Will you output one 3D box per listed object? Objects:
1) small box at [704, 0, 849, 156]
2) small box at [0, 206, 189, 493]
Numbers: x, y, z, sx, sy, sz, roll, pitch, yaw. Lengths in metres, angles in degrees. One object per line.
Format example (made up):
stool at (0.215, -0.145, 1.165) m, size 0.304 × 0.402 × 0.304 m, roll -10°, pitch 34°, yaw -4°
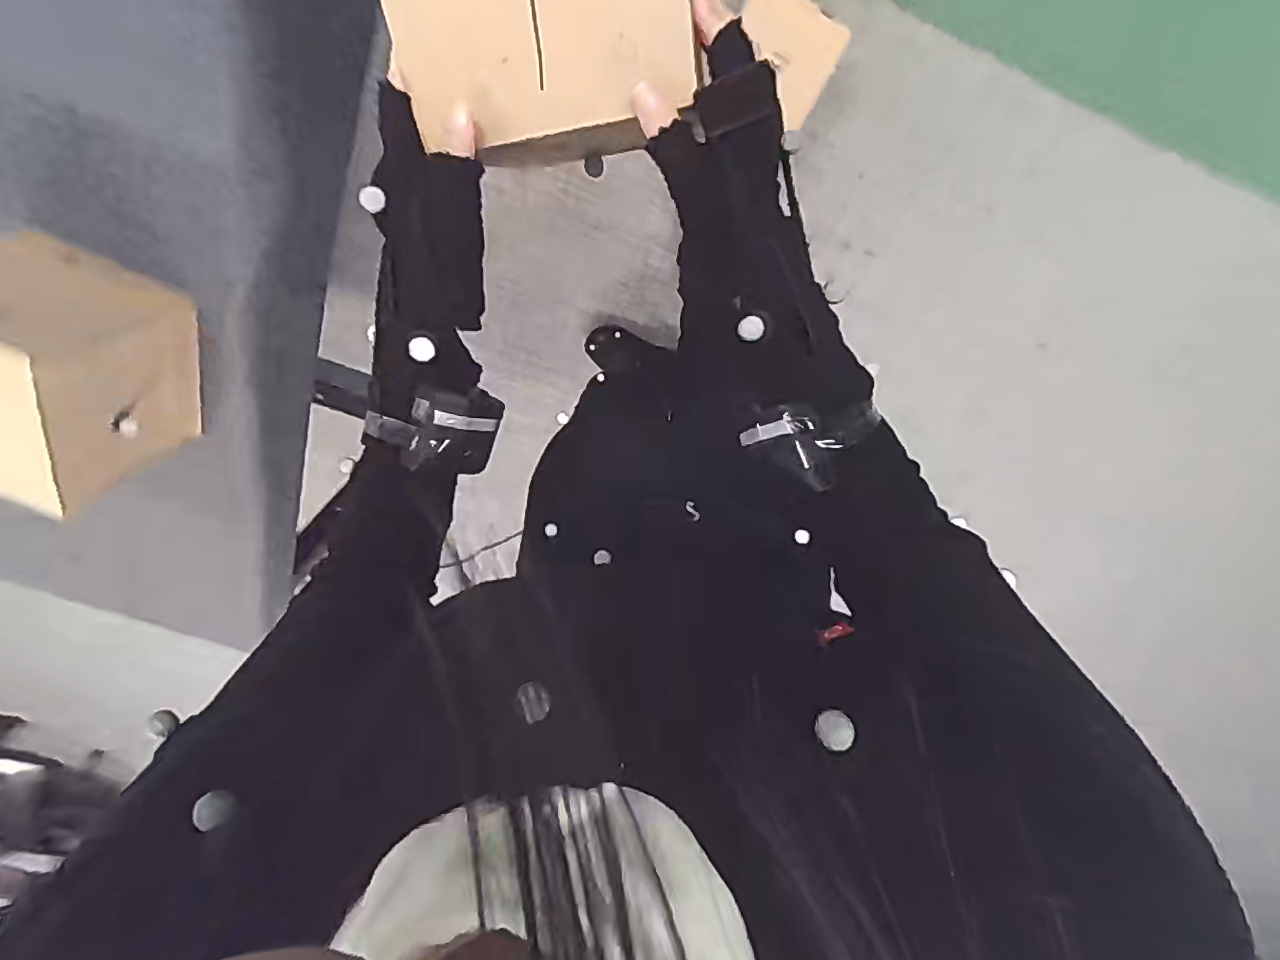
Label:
small box at (0.220, -0.689, 0.920) m, size 0.168 × 0.176 × 0.179 m, roll 26°, pitch 125°, yaw -9°
small box at (-0.571, -0.126, 0.509) m, size 0.168 × 0.176 × 0.179 m, roll 25°, pitch 123°, yaw -9°
